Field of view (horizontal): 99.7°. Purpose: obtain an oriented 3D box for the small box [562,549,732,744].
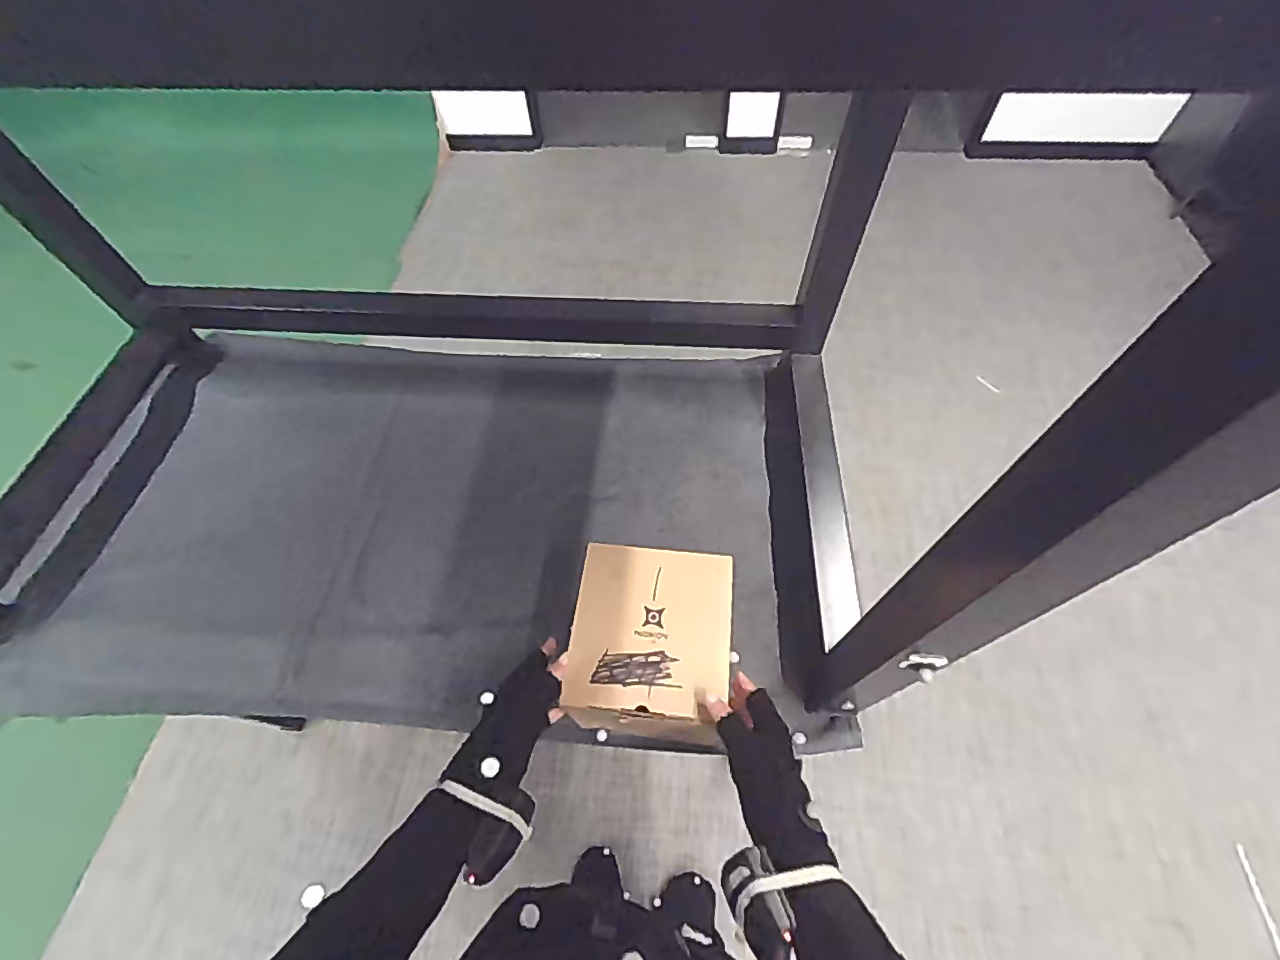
[{"bbox_3d":[0.017,0.203,0.642,0.168,0.176,0.179,5,57,6],"label":"small box"}]
